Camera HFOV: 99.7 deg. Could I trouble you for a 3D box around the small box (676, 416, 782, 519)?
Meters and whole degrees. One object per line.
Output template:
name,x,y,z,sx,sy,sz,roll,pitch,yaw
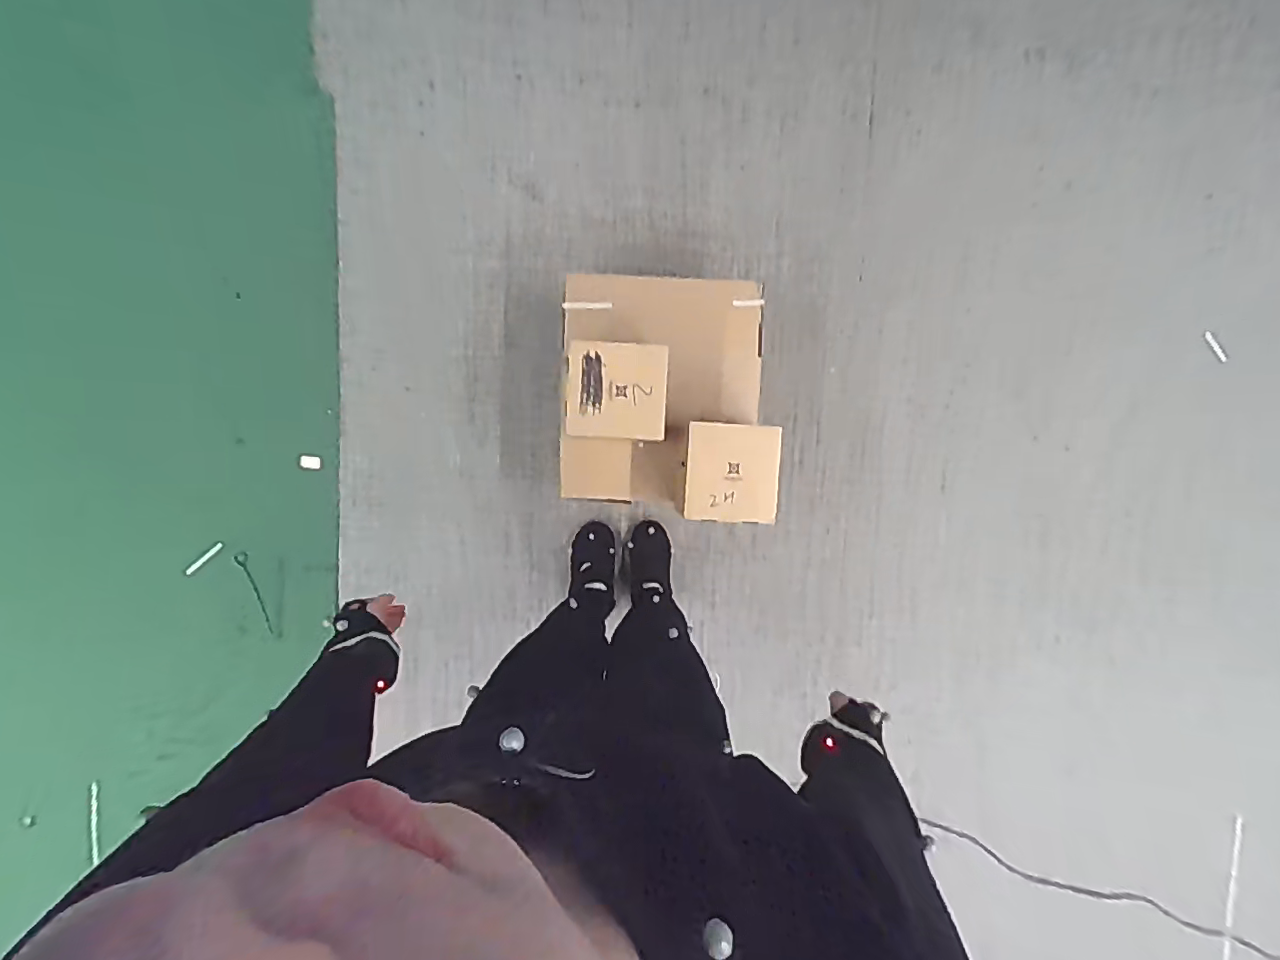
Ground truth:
small box,0.162,-0.025,1.032,0.168,0.176,0.179,3,93,-2
